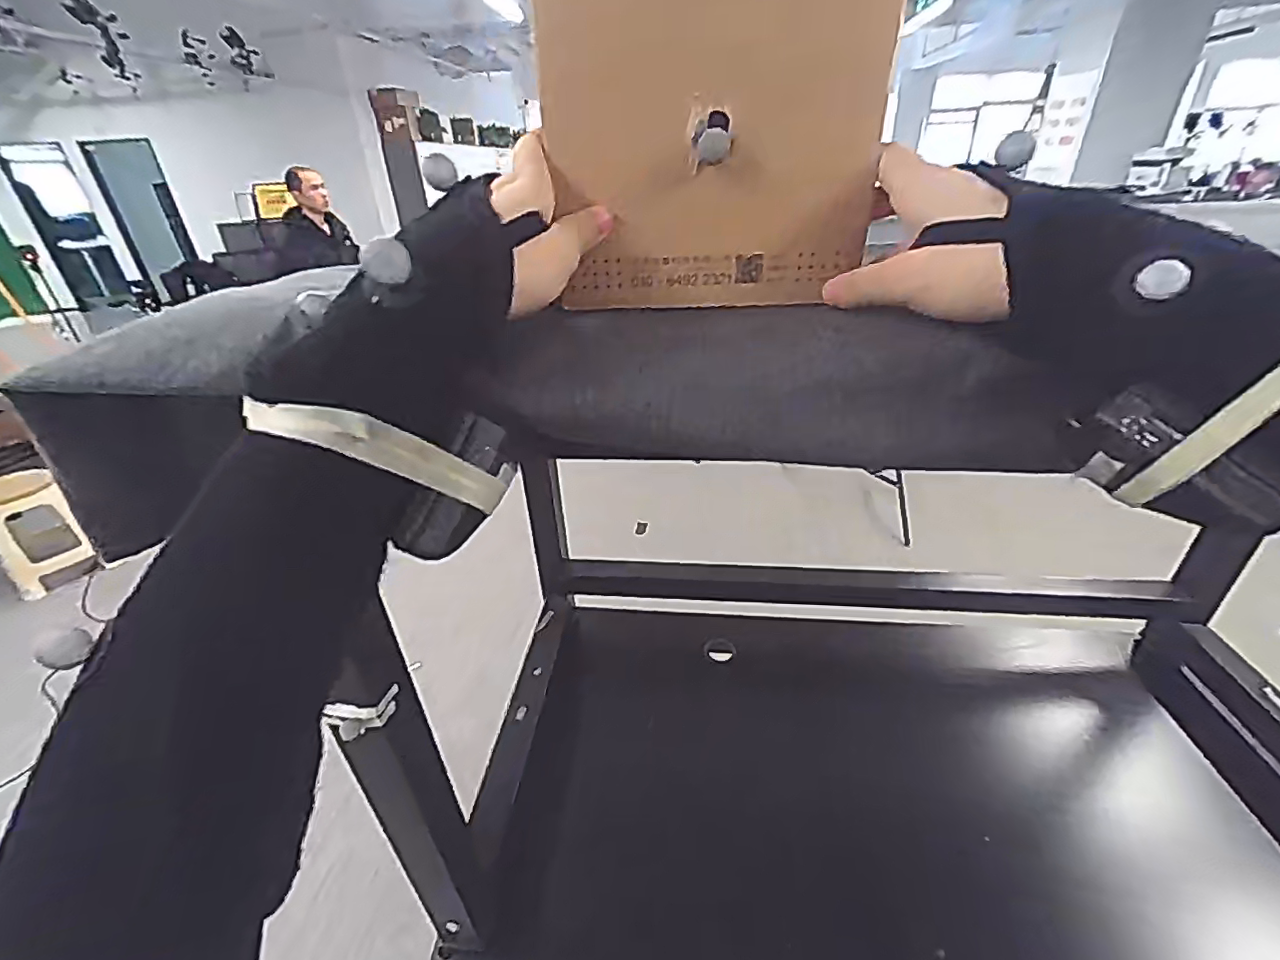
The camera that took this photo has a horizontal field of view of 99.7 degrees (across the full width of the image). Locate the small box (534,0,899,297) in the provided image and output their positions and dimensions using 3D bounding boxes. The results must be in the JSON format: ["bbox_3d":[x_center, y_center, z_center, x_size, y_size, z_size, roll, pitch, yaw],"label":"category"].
[{"bbox_3d":[0.039,-0.210,0.327,0.168,0.176,0.179,0,29,2],"label":"small box"}]
